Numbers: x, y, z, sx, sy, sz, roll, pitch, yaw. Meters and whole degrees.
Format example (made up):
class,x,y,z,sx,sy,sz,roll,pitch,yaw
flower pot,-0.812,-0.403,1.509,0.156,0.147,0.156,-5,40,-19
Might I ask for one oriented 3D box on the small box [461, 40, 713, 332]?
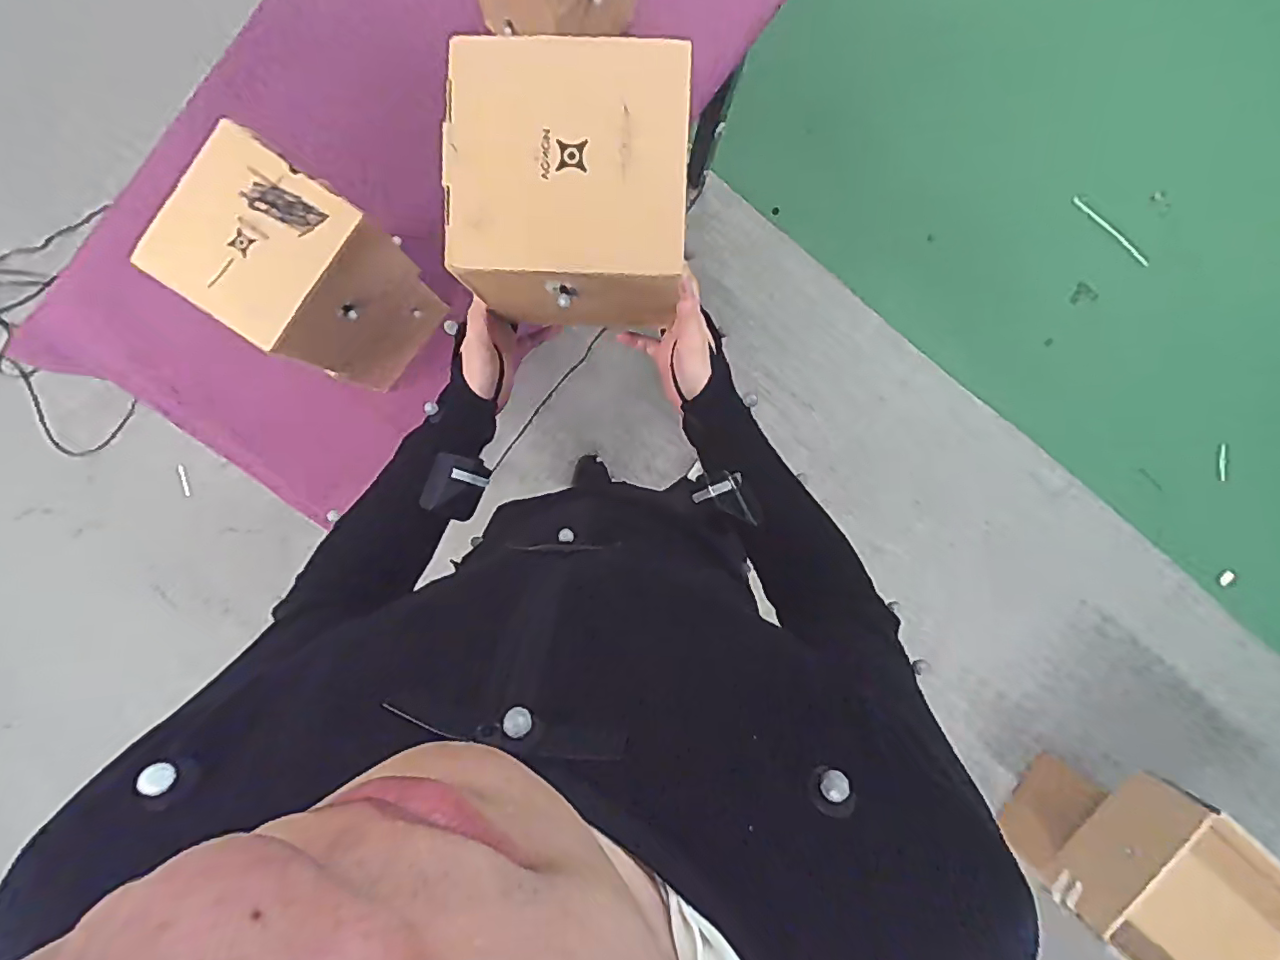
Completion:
class,x,y,z,sx,sy,sz,roll,pitch,yaw
small box,-0.038,-0.231,0.468,0.179,0.176,0.168,3,92,0

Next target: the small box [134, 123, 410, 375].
class,x,y,z,sx,sy,sz,roll,pitch,yaw
small box,-0.393,-0.243,0.621,0.168,0.176,0.179,34,90,-4

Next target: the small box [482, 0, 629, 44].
class,x,y,z,sx,sy,sz,roll,pitch,yaw
small box,-0.124,-0.727,0.780,0.168,0.176,0.179,42,91,-5
